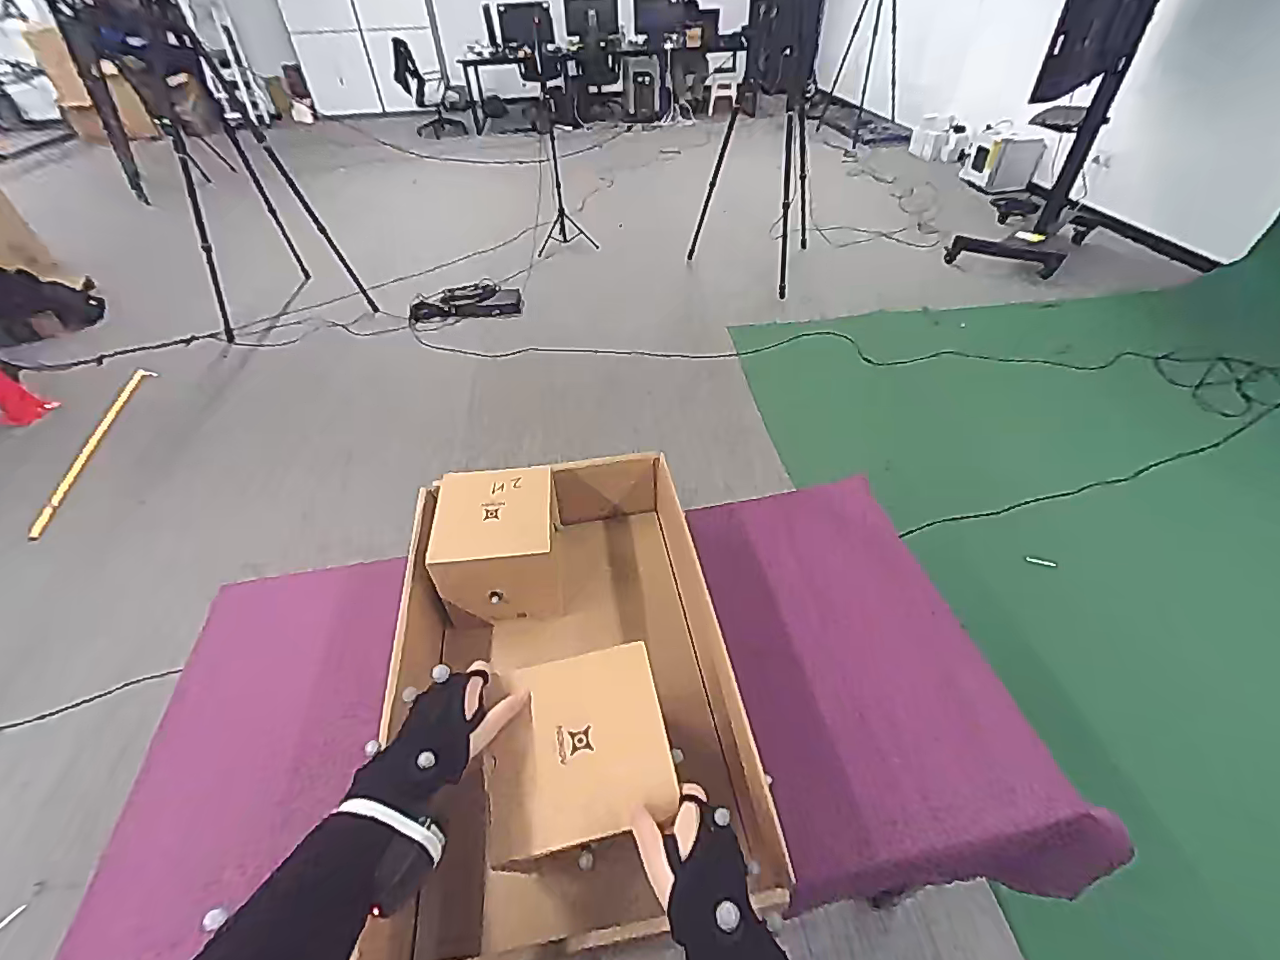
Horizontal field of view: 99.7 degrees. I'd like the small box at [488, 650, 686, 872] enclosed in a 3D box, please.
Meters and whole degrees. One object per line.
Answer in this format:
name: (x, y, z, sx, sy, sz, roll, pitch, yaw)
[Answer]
small box: (-0.055, 0.310, 0.595, 0.179, 0.176, 0.168, -13, 53, -5)
